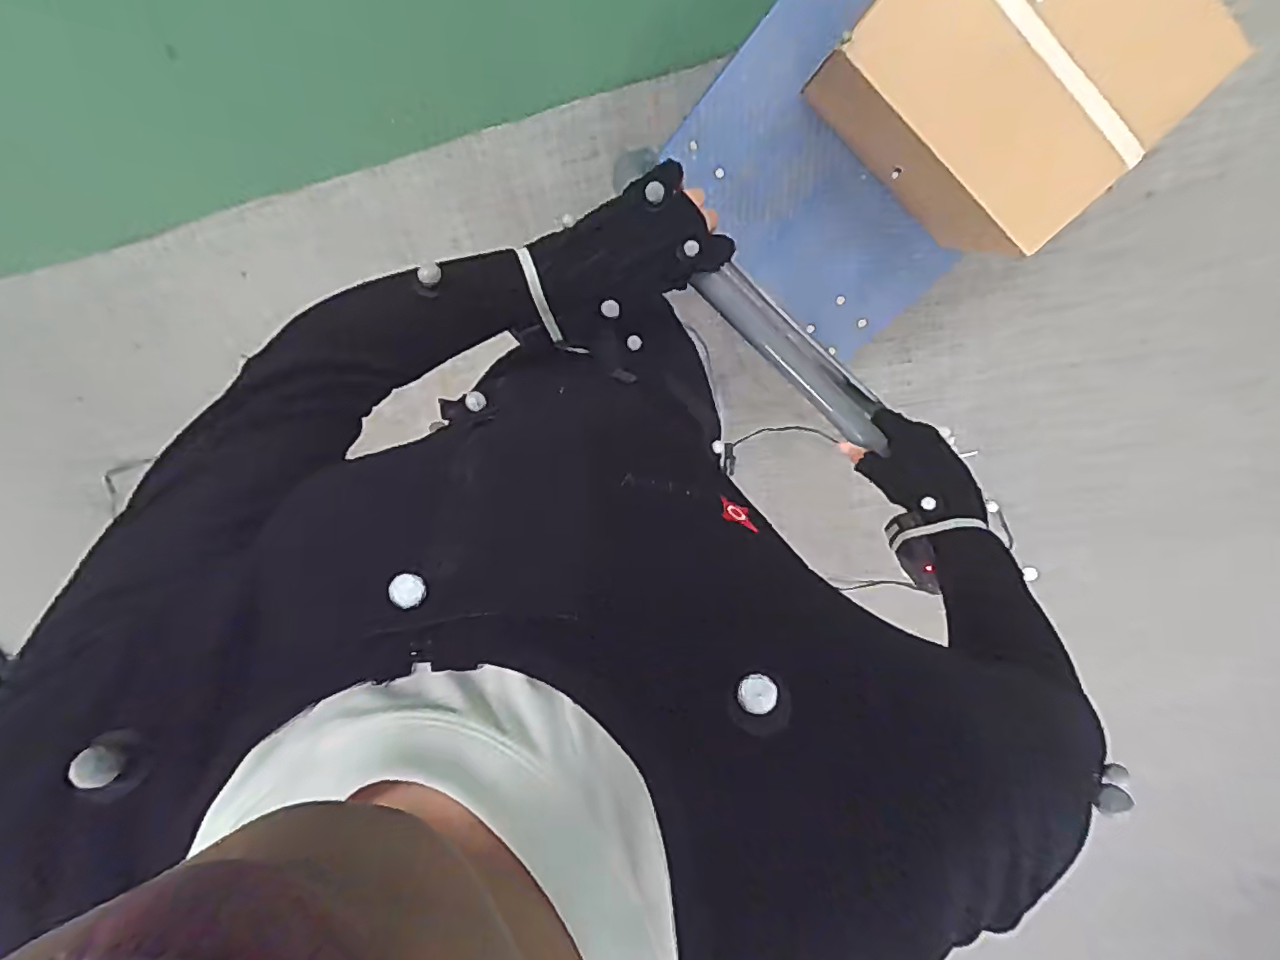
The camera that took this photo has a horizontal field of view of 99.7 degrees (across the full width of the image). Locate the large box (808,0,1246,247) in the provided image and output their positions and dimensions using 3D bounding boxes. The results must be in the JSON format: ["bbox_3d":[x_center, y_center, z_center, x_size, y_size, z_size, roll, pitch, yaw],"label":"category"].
[{"bbox_3d":[0.531,-0.622,0.832,0.408,0.320,0.320,38,113,-11],"label":"large box"}]
